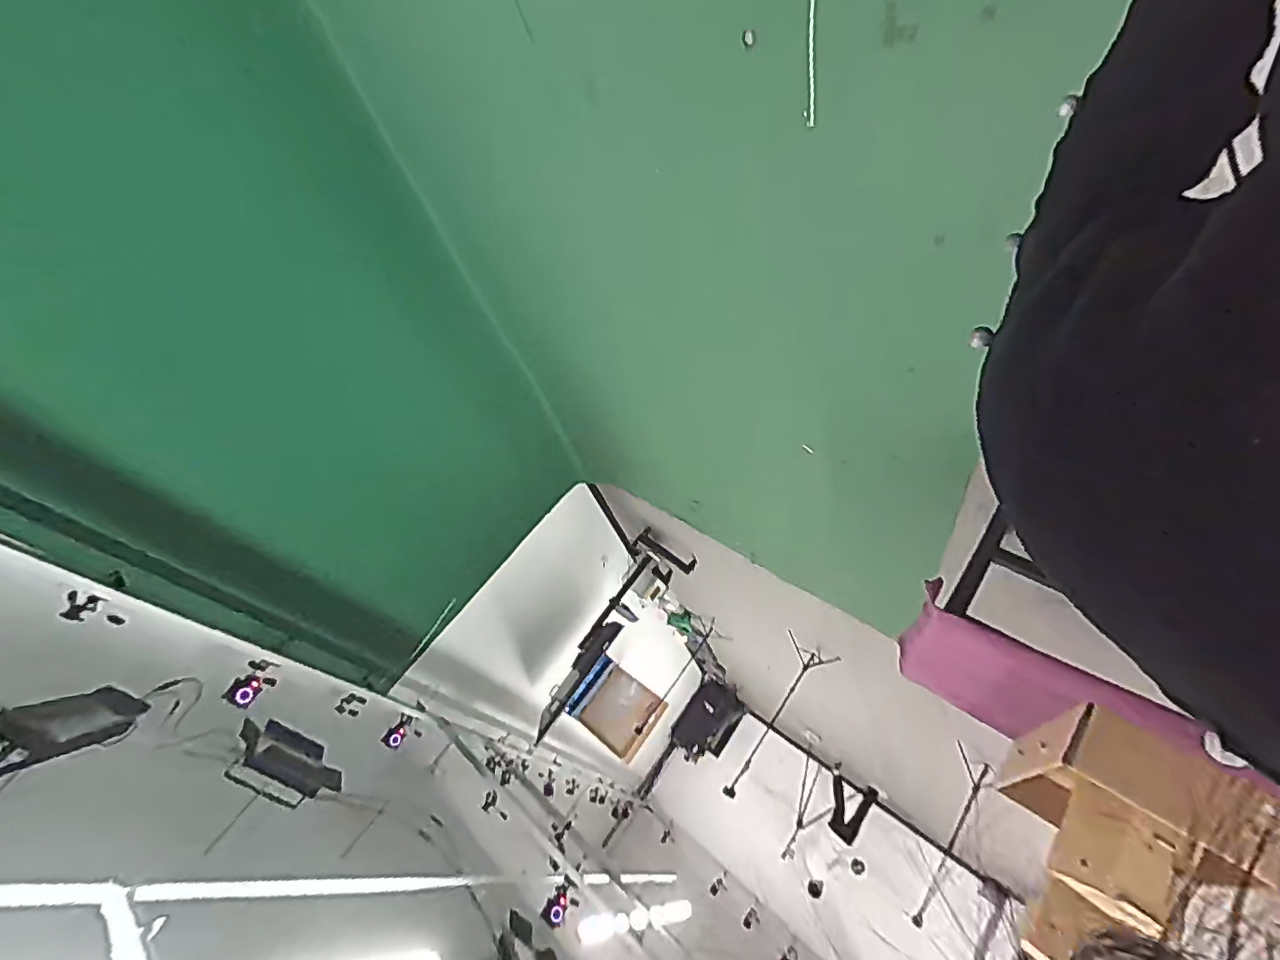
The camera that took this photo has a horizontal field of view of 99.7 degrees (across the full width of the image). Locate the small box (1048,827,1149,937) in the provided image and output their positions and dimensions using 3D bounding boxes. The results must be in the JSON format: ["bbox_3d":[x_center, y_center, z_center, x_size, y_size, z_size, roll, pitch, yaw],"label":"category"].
[{"bbox_3d":[1.254,1.074,1.458,0.179,0.176,0.168,28,157,33],"label":"small box"}]

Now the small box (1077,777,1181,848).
[{"bbox_3d":[1.359,0.962,1.512,0.168,0.176,0.179,29,157,31],"label":"small box"}]

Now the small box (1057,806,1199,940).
[{"bbox_3d":[1.141,0.902,1.264,0.168,0.176,0.179,35,163,11],"label":"small box"}]
